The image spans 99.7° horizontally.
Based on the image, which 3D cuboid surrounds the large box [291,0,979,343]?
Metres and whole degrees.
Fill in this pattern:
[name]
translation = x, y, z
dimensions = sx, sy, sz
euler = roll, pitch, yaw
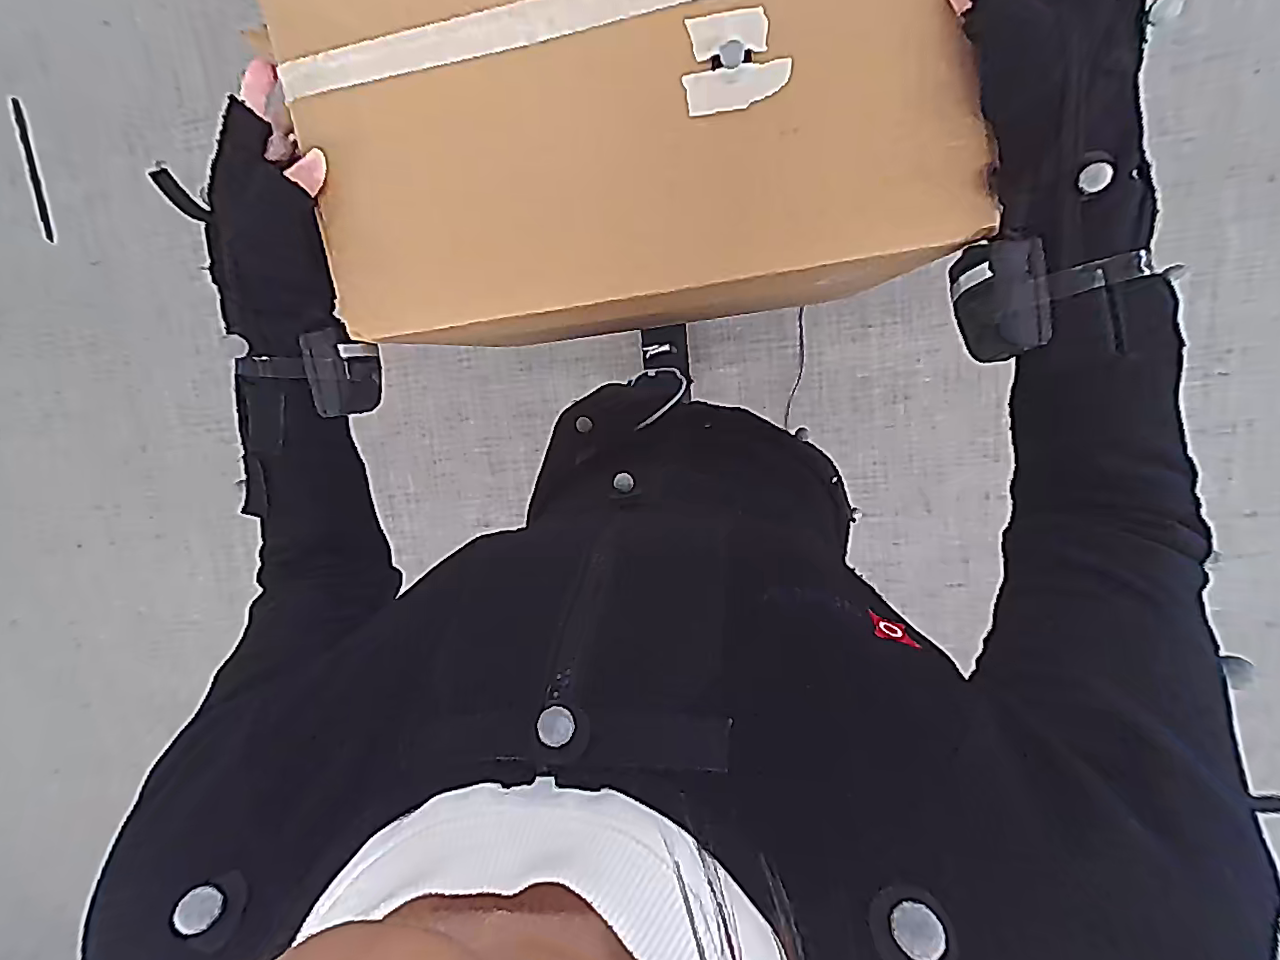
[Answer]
[large box]
translation = -0.001, -0.308, 0.462
dimensions = 0.408, 0.320, 0.320
euler = -7, 103, 8
